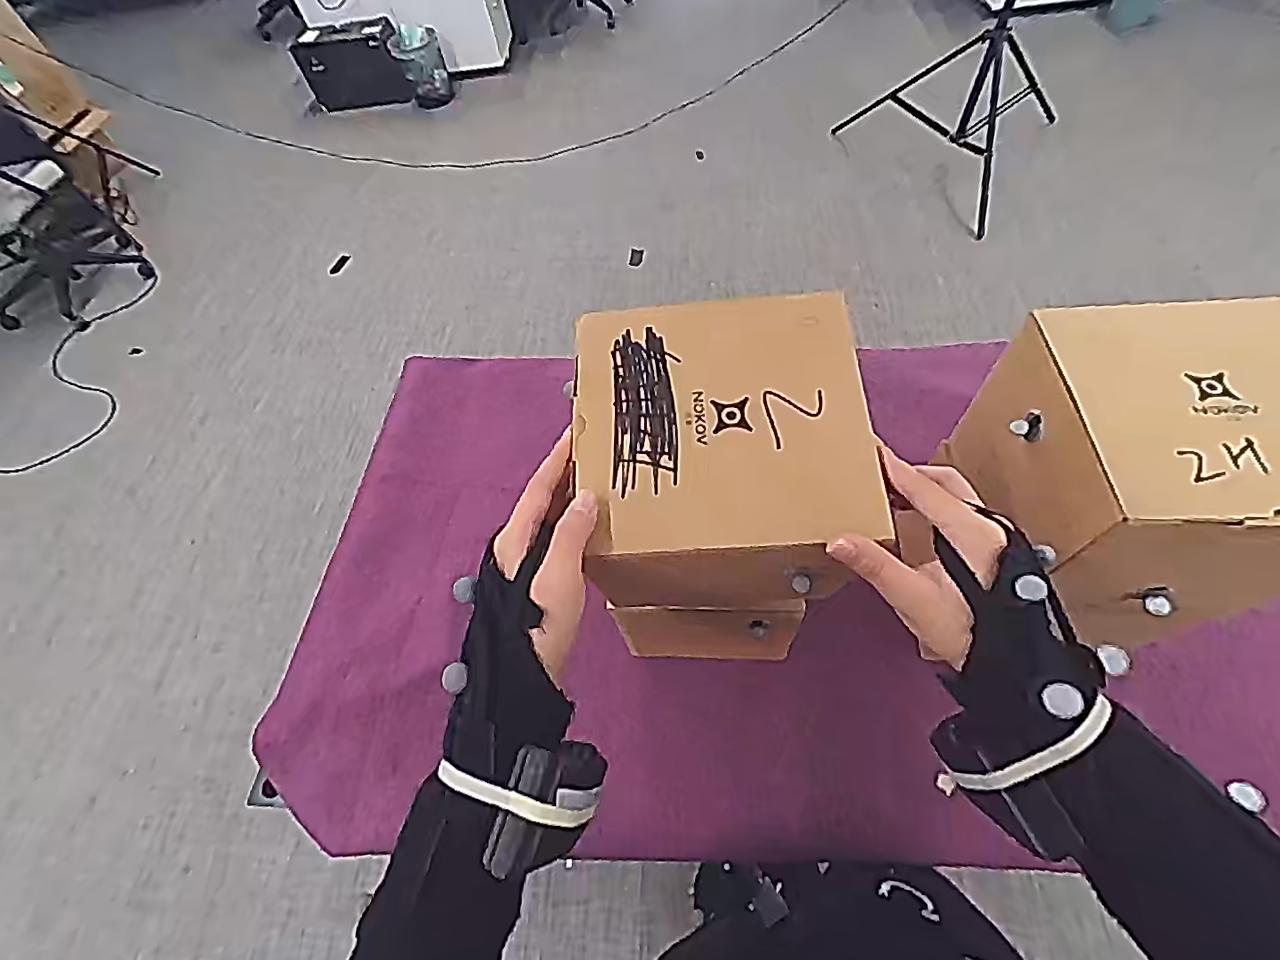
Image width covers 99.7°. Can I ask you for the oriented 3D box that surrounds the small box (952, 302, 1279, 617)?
[{"bbox_3d":[0.367,-0.010,0.412,0.168,0.176,0.179,-1,58,8],"label":"small box"}]

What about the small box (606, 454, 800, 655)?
[{"bbox_3d":[0.067,0.087,0.587,0.179,0.176,0.168,-1,58,6],"label":"small box"}]

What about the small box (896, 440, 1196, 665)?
[{"bbox_3d":[0.379,0.077,0.552,0.168,0.176,0.179,0,59,8],"label":"small box"}]
